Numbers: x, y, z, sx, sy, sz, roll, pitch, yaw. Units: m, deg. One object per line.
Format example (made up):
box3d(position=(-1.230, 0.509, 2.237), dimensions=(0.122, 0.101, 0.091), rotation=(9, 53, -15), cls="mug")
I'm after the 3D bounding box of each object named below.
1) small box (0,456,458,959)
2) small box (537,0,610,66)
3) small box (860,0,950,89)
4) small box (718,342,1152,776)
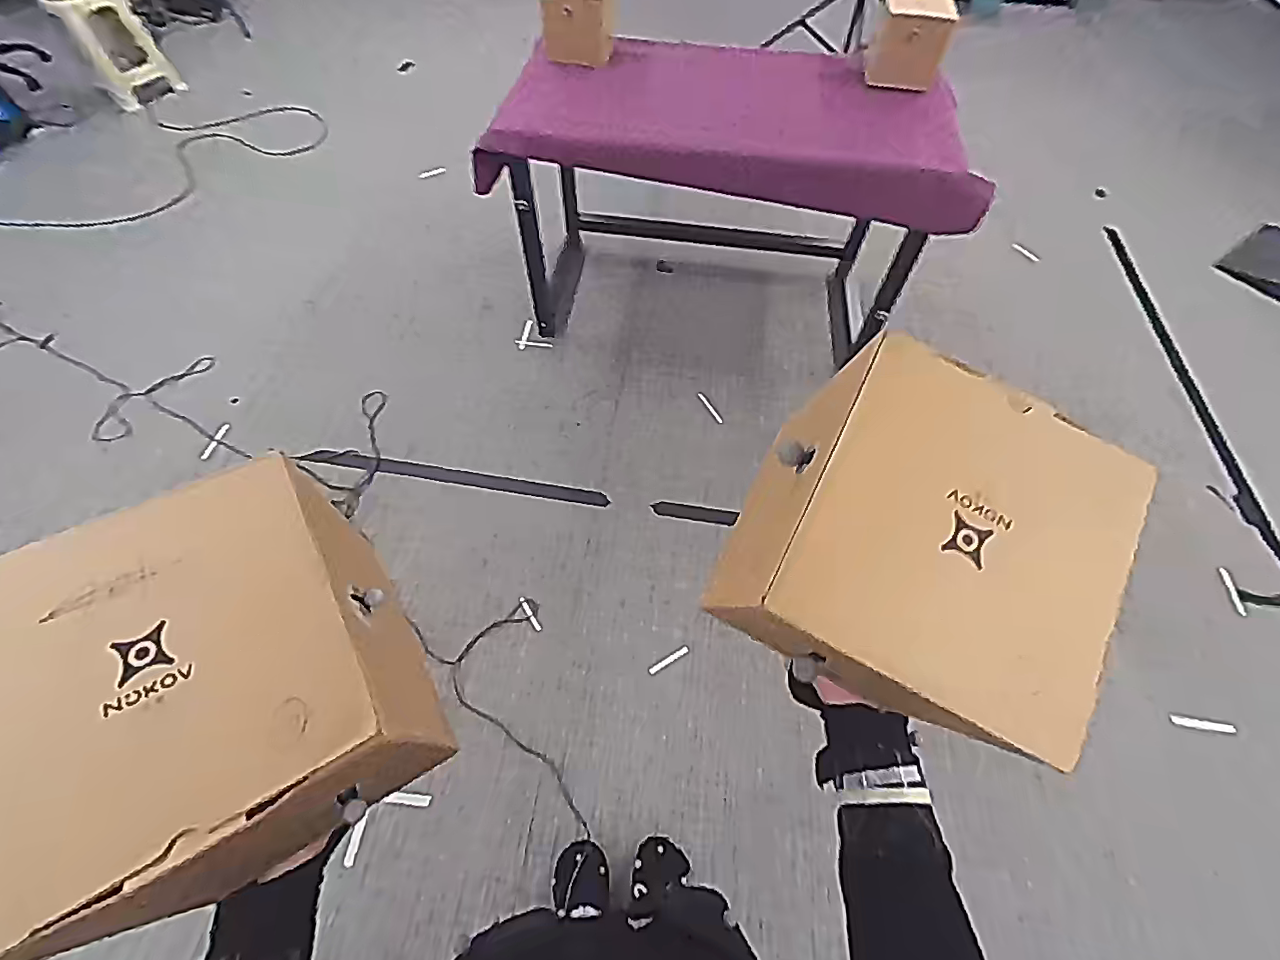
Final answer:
box3d(position=(-0.230, 0.123, 0.324), dimensions=(0.168, 0.176, 0.179), rotation=(-27, 66, -19), cls="small box")
box3d(position=(-0.189, -1.327, 1.553), dimensions=(0.179, 0.176, 0.168), rotation=(10, 61, 4), cls="small box")
box3d(position=(0.728, -1.227, 1.508), dimensions=(0.179, 0.176, 0.168), rotation=(9, 60, 3), cls="small box")
box3d(position=(0.165, 0.051, 0.357), dimensions=(0.168, 0.176, 0.179), rotation=(28, 74, 3), cls="small box")
